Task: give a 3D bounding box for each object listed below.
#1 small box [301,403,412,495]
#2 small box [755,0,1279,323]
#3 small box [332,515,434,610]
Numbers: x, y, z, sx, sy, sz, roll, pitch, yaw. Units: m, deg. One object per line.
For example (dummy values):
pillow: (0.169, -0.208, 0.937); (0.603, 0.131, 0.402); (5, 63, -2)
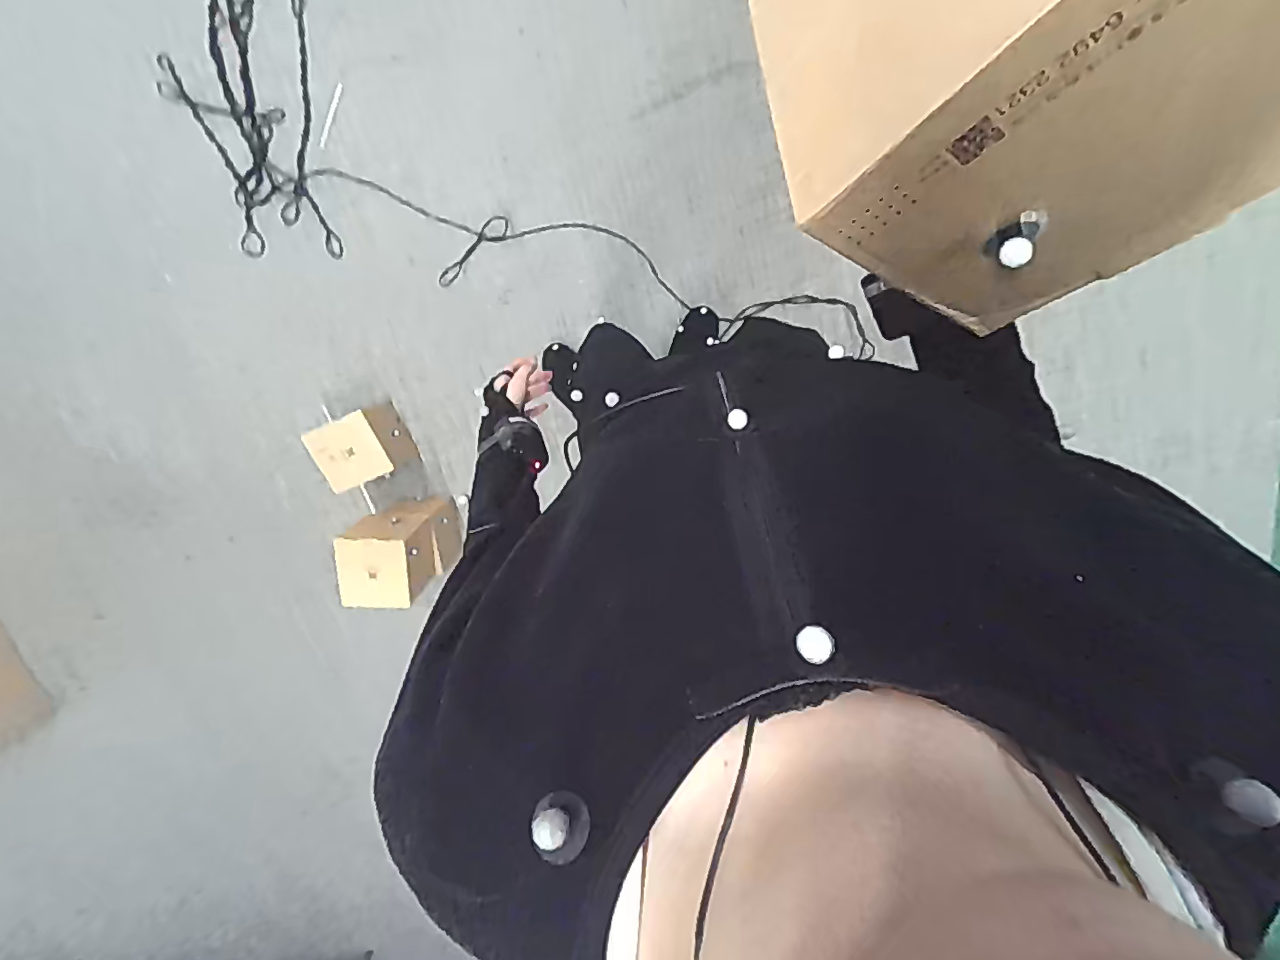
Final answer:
small box: (-0.722, -0.088, 1.408); (0.179, 0.176, 0.168); (-22, 106, 7)
small box: (0.170, -0.206, 0.233); (0.176, 0.179, 0.168); (11, 154, -34)
small box: (-0.621, 0.199, 1.329); (0.168, 0.176, 0.179); (1, 106, 0)
